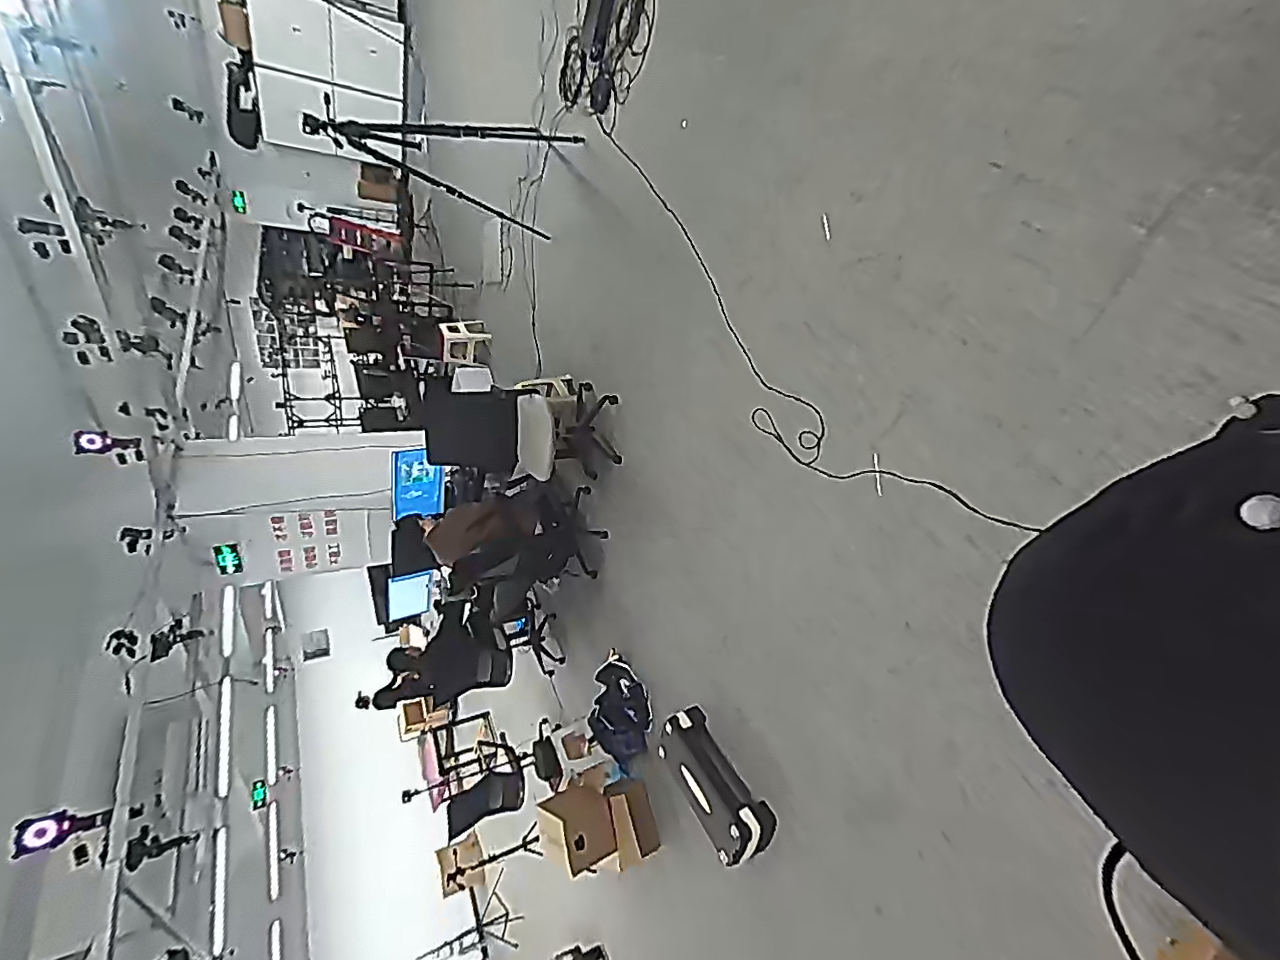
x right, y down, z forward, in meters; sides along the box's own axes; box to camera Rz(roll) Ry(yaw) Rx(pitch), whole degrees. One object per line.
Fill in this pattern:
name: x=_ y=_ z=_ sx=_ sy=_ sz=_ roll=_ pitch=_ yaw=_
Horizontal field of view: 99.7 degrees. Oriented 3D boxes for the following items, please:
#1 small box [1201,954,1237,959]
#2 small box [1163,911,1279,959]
small box: x=1.113 y=1.059 z=1.028 sx=0.168 sy=0.176 sz=0.179 roll=53 pitch=138 yaw=39
small box: x=1.251 y=1.045 z=1.117 sx=0.168 sy=0.176 sz=0.179 roll=53 pitch=138 yaw=39
